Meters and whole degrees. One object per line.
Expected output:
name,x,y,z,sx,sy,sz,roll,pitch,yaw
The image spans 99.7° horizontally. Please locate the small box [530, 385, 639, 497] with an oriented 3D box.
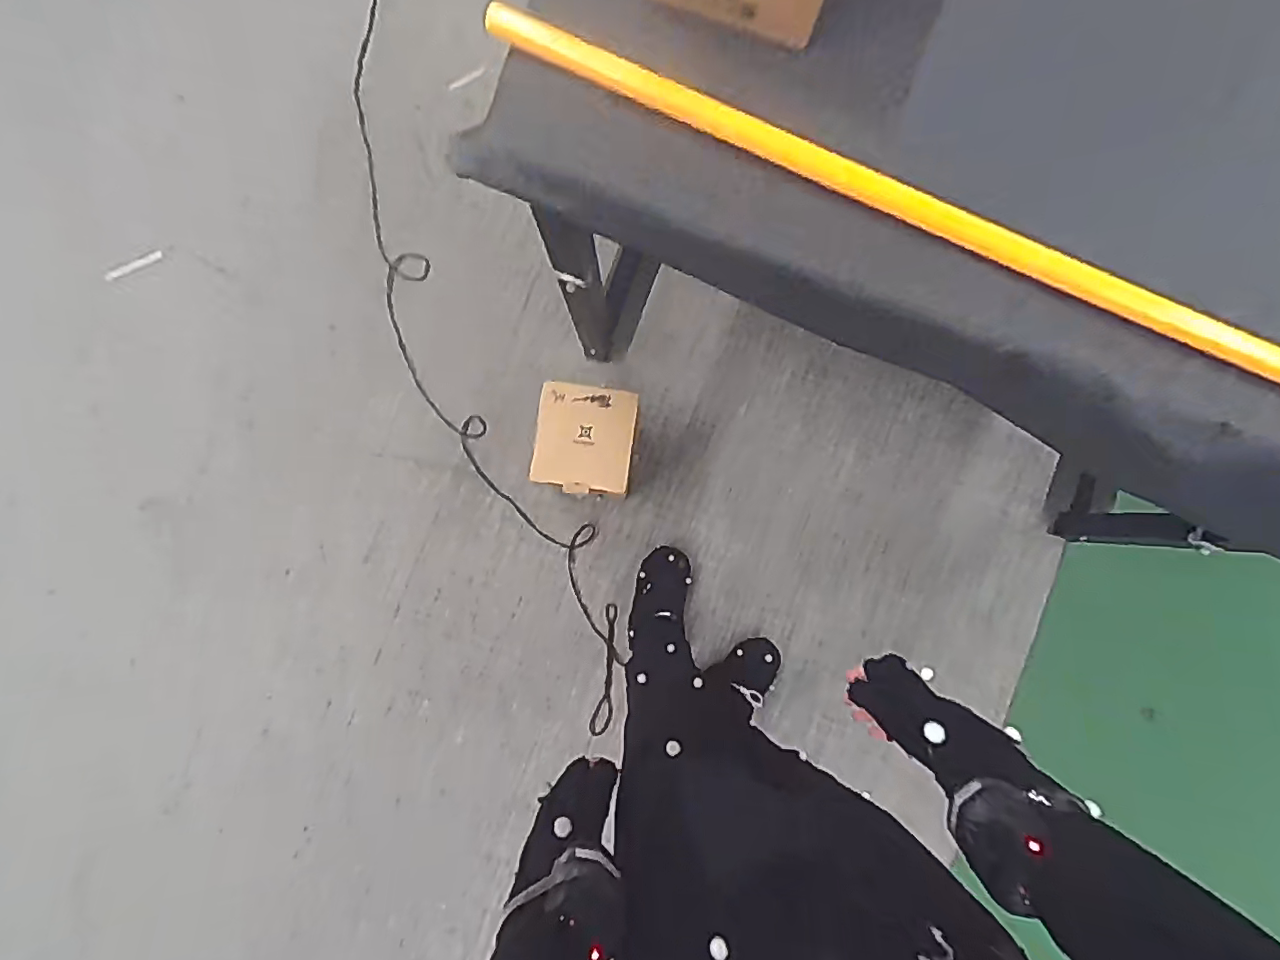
small box,-0.093,-0.063,0.990,0.168,0.176,0.179,6,87,2
